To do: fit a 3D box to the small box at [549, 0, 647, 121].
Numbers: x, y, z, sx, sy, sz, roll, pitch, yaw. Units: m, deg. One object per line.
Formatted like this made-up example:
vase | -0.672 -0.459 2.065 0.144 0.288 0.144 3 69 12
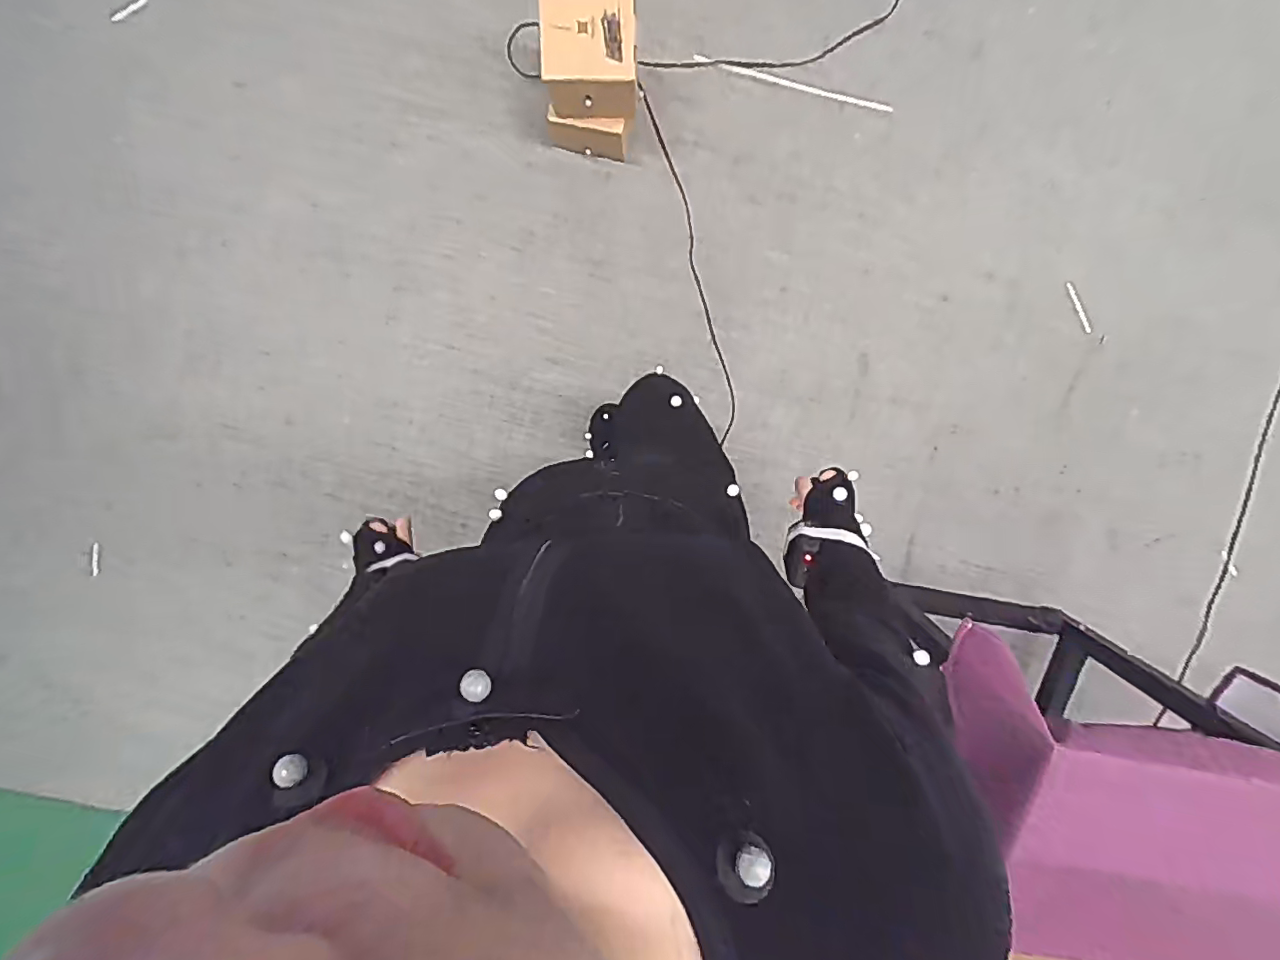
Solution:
small box | -0.076 -0.833 1.065 0.179 0.176 0.168 1 103 3
